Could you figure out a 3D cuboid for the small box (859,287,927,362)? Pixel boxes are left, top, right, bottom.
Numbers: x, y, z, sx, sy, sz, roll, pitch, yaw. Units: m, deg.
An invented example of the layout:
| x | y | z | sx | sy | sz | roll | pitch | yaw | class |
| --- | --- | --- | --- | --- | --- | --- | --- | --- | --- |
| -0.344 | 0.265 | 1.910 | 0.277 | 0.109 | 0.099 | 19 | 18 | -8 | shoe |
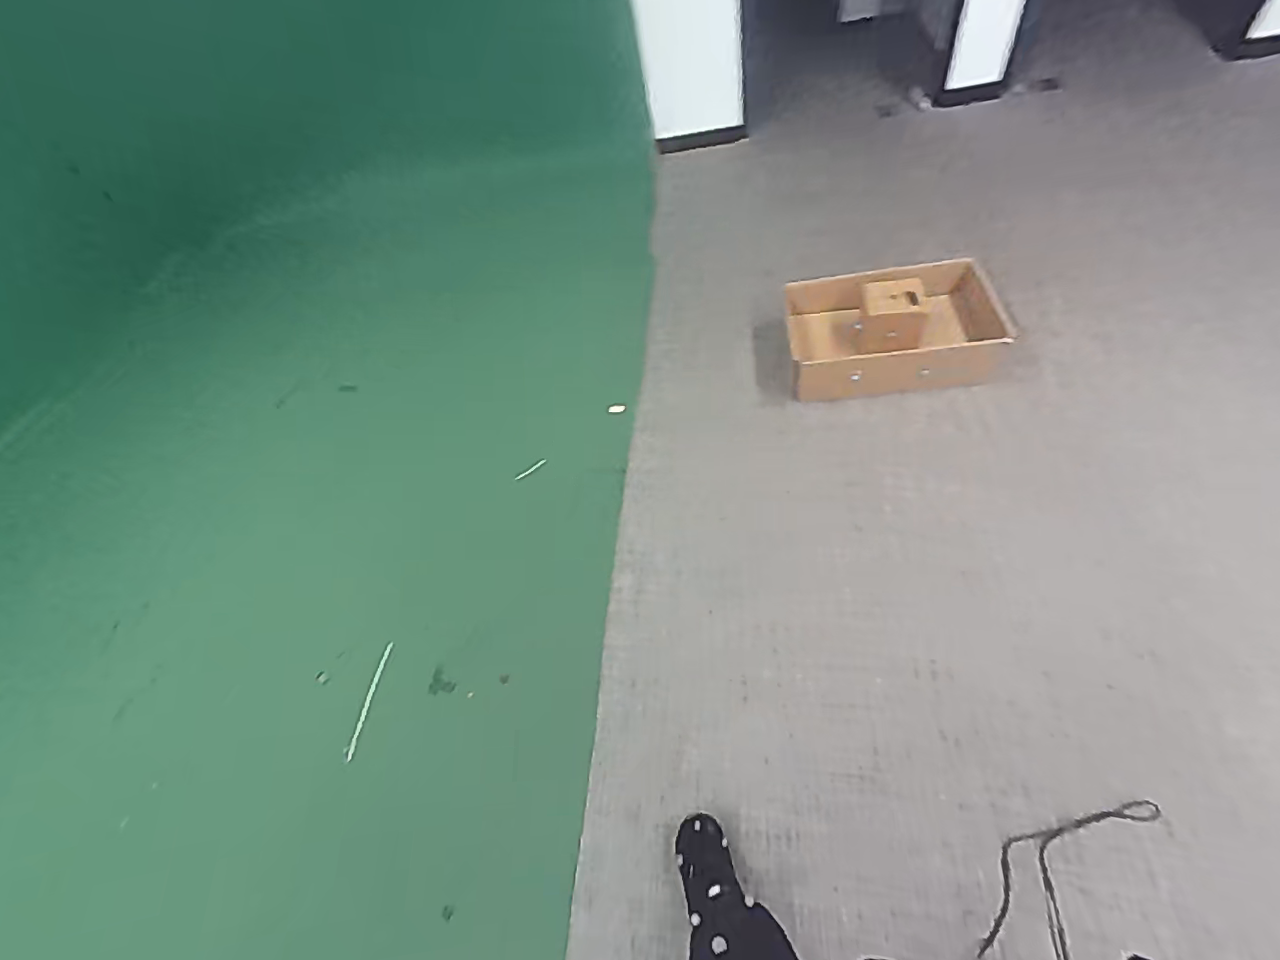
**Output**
| x | y | z | sx | sy | sz | roll | pitch | yaw | class |
| --- | --- | --- | --- | --- | --- | --- | --- | --- | --- |
| 0.827 | -0.508 | 1.783 | 0.179 | 0.176 | 0.168 | -1 | 55 | 16 | small box |
